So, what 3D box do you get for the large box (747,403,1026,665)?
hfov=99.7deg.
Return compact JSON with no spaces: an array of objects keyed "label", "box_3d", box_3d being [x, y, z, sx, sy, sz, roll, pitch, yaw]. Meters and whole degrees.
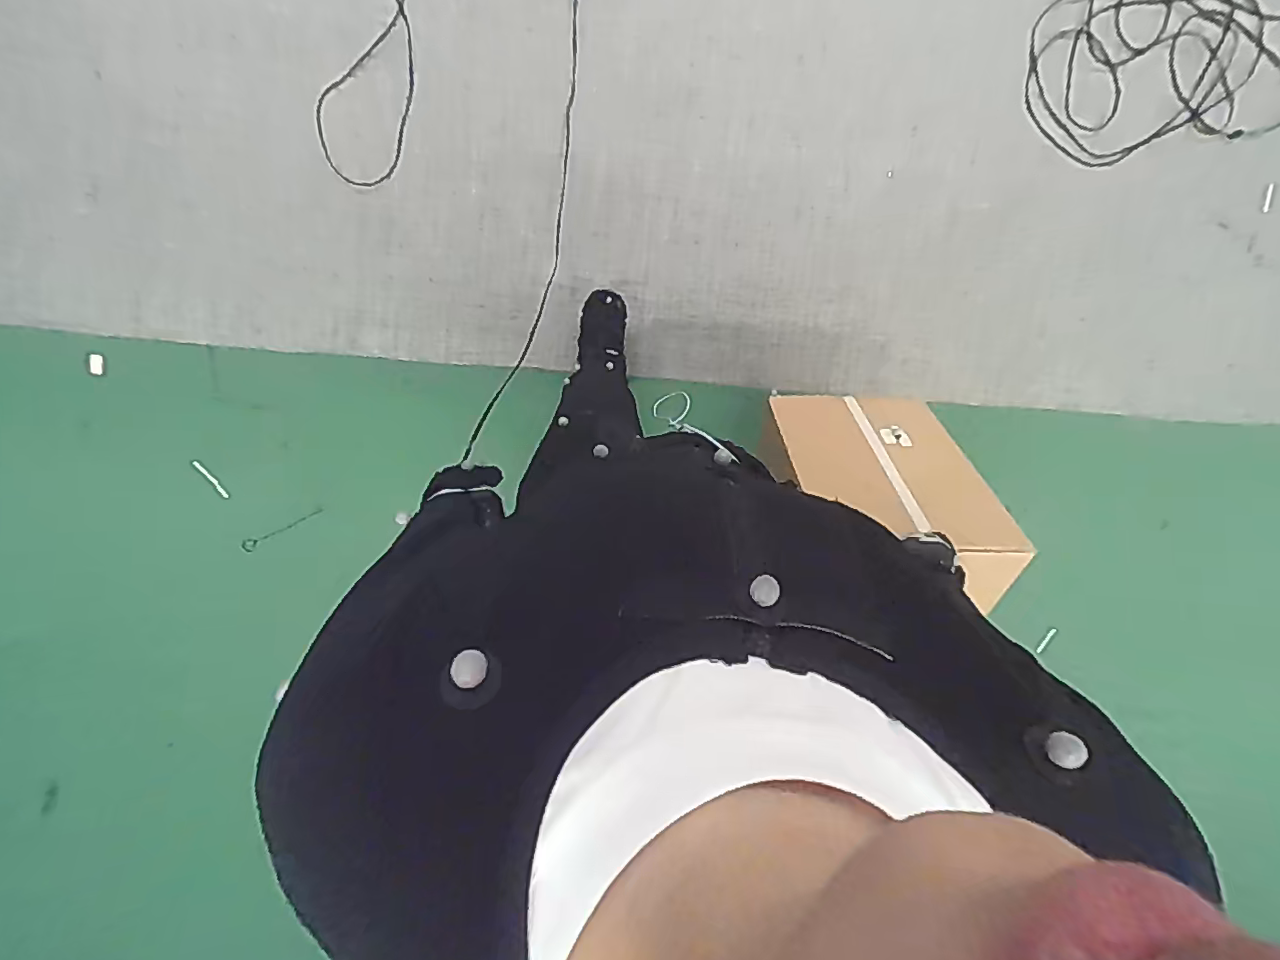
[{"label":"large box","box_3d":[0.408,0.093,1.031,0.320,0.408,0.320,1,130,-2]}]
